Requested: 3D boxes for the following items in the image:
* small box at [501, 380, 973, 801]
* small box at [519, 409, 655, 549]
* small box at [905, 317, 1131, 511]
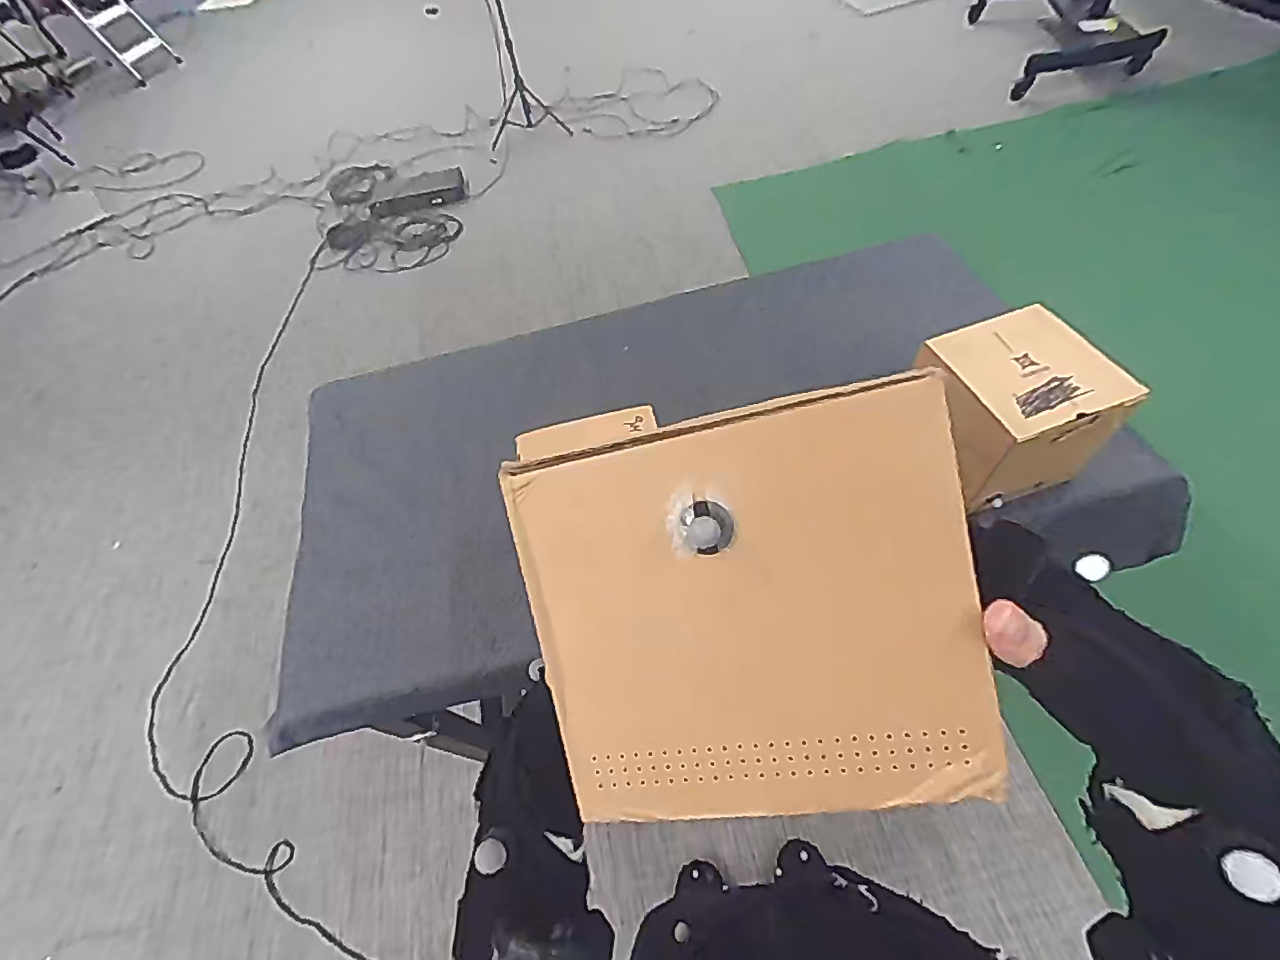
[{"bbox_3d":[0.053,0.050,0.301,0.179,0.168,0.176,-10,95,14],"label":"small box"},{"bbox_3d":[-0.046,0.038,0.707,0.179,0.176,0.168,-13,54,-1],"label":"small box"},{"bbox_3d":[0.466,-0.078,0.718,0.168,0.176,0.179,-18,55,-4],"label":"small box"}]
